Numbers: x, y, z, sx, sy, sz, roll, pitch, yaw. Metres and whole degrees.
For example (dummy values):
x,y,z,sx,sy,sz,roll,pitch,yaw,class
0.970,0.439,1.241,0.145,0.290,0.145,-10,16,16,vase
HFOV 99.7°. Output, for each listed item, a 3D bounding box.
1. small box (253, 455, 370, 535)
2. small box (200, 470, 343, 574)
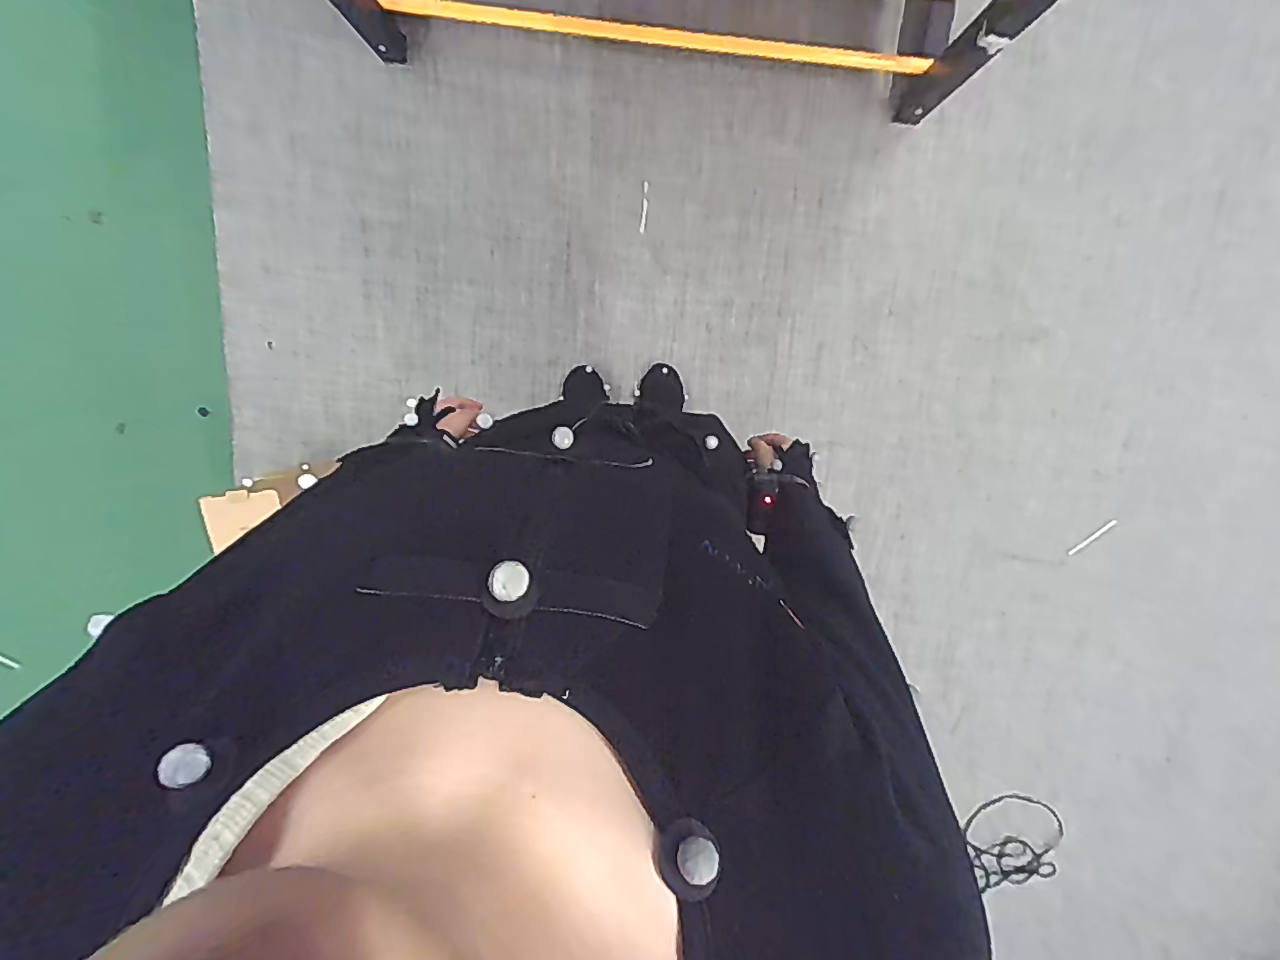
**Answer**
x,y,z,sx,sy,sz,roll,pitch,yaw,class
-0.780,0.038,1.309,0.179,0.176,0.168,-4,103,2,small box
-0.773,0.081,1.153,0.168,0.176,0.179,-7,104,4,small box
